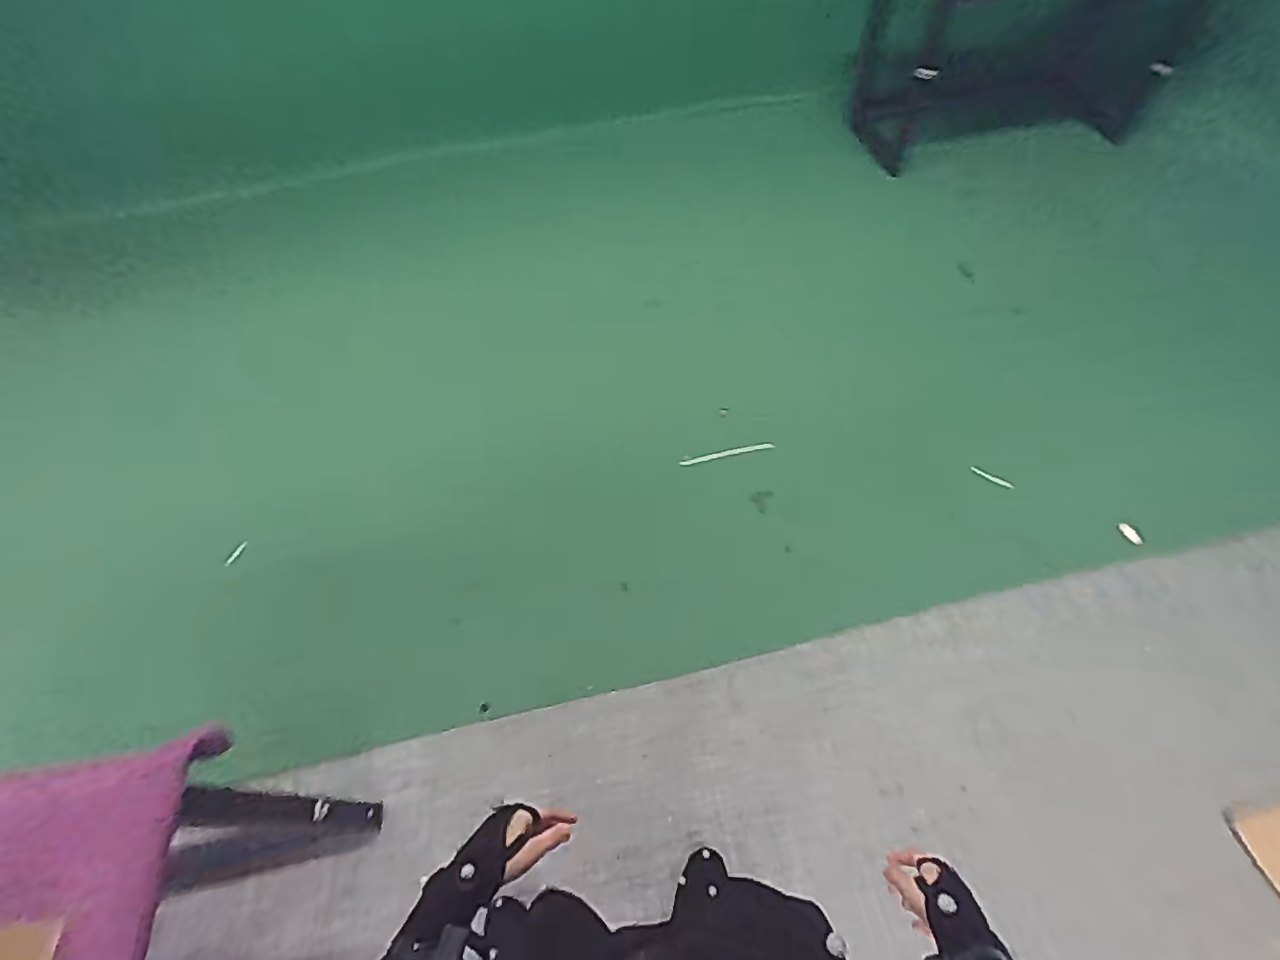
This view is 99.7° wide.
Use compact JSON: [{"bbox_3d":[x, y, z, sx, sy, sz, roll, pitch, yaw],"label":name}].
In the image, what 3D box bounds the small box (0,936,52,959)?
[{"bbox_3d":[-0.728,0.541,0.494,0.179,0.176,0.168,-7,57,0],"label":"small box"}]
